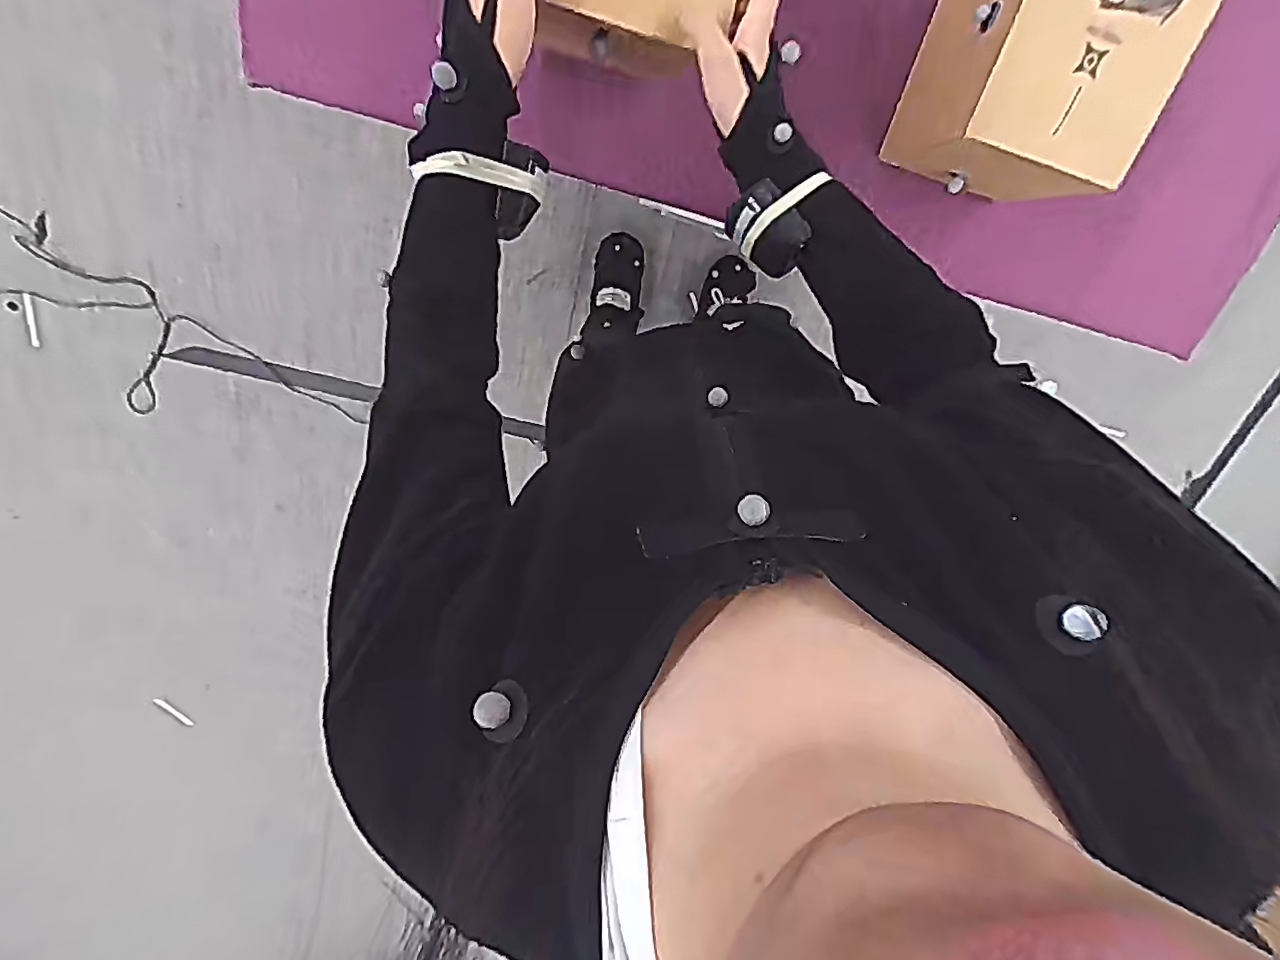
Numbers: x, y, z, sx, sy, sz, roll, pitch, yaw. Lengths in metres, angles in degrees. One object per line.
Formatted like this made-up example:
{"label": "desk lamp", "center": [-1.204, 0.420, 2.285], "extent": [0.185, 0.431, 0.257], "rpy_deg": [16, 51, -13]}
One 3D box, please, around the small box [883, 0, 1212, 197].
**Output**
{"label": "small box", "center": [0.375, -0.398, 0.531], "extent": [0.168, 0.176, 0.179], "rpy_deg": [13, 113, -9]}

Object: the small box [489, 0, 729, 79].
{"label": "small box", "center": [-0.025, -0.455, 0.445], "extent": [0.179, 0.176, 0.168], "rpy_deg": [4, 119, -19]}
